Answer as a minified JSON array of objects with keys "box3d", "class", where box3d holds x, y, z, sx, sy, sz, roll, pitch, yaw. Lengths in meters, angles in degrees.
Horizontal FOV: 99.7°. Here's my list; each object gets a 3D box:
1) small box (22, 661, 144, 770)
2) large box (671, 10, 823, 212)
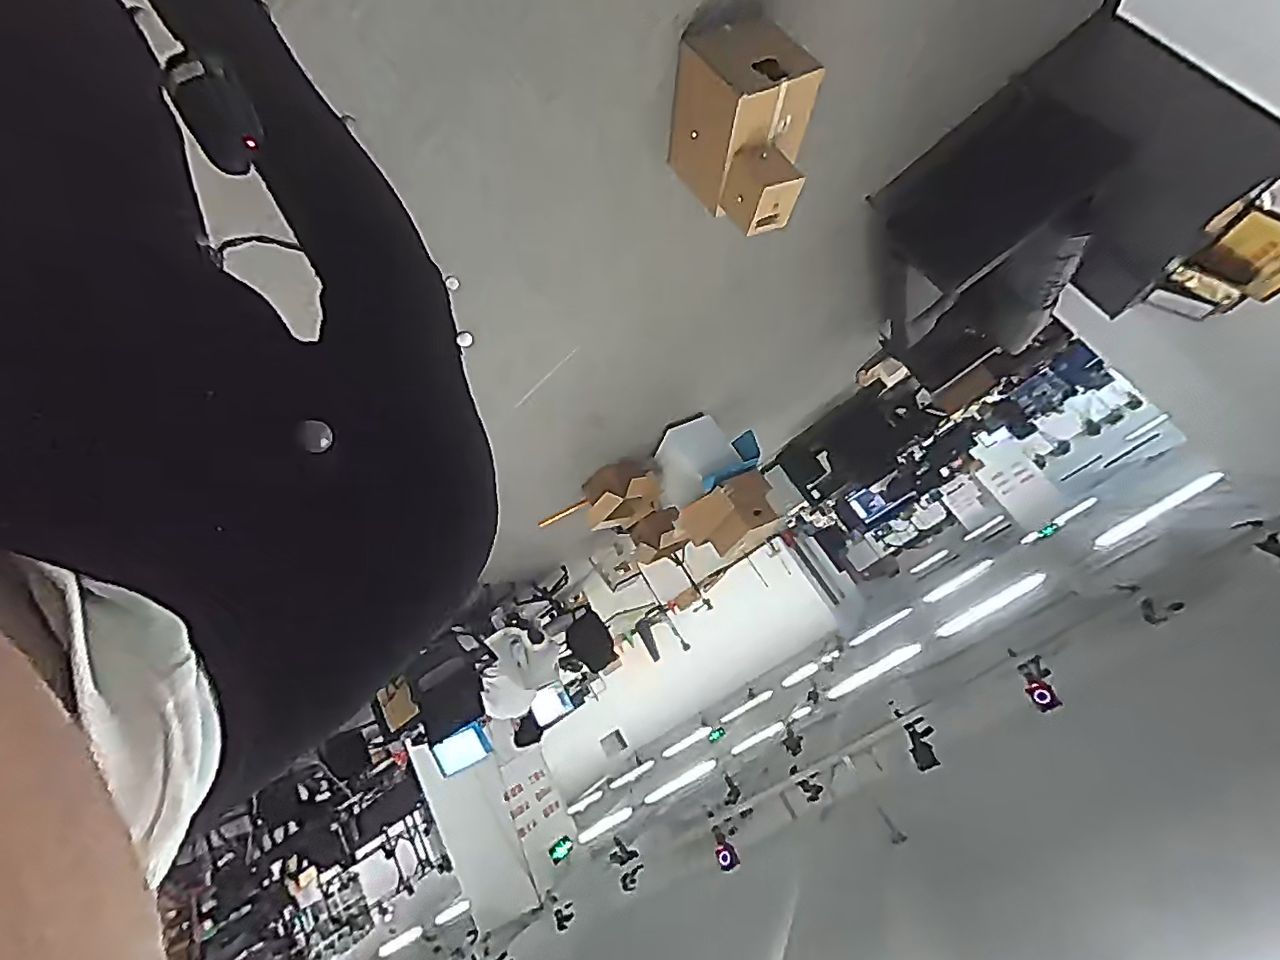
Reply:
[{"box3d":[-1.388,0.577,1.345,0.179,0.176,0.168,-37,161,19],"class":"small box"},{"box3d":[0.319,-1.178,1.750,0.320,0.320,0.408,-29,160,-14],"class":"large box"}]
